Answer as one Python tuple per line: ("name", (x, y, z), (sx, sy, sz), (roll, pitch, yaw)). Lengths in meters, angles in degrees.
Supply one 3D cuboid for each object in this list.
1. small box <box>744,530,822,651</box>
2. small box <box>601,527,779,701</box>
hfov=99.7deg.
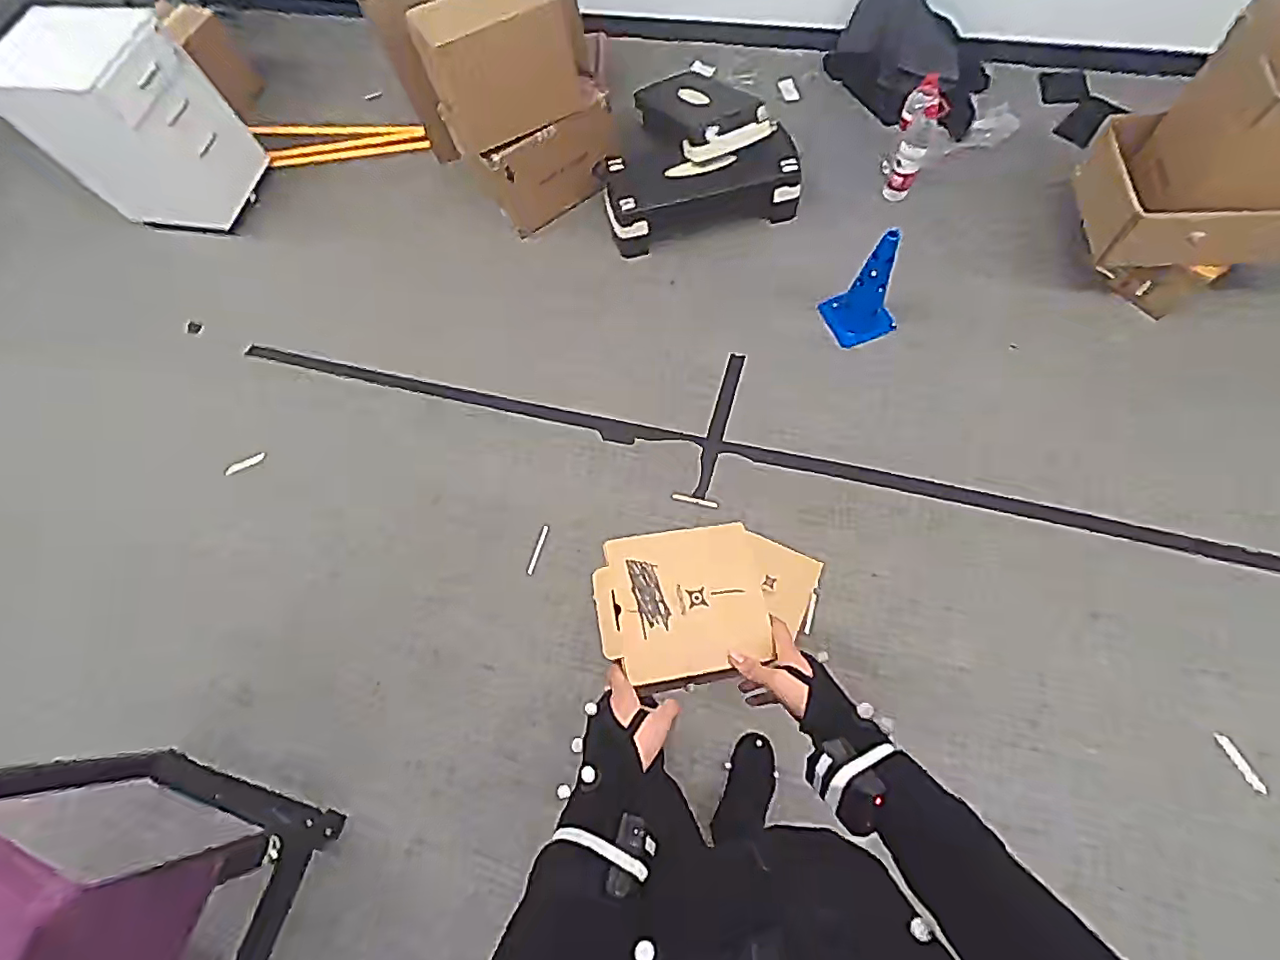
("small box", (0.249, 0.233, 1.112), (0.168, 0.176, 0.179), (24, 73, 14))
("small box", (0.047, 0.174, 0.682), (0.179, 0.176, 0.168), (-7, 65, -11))
